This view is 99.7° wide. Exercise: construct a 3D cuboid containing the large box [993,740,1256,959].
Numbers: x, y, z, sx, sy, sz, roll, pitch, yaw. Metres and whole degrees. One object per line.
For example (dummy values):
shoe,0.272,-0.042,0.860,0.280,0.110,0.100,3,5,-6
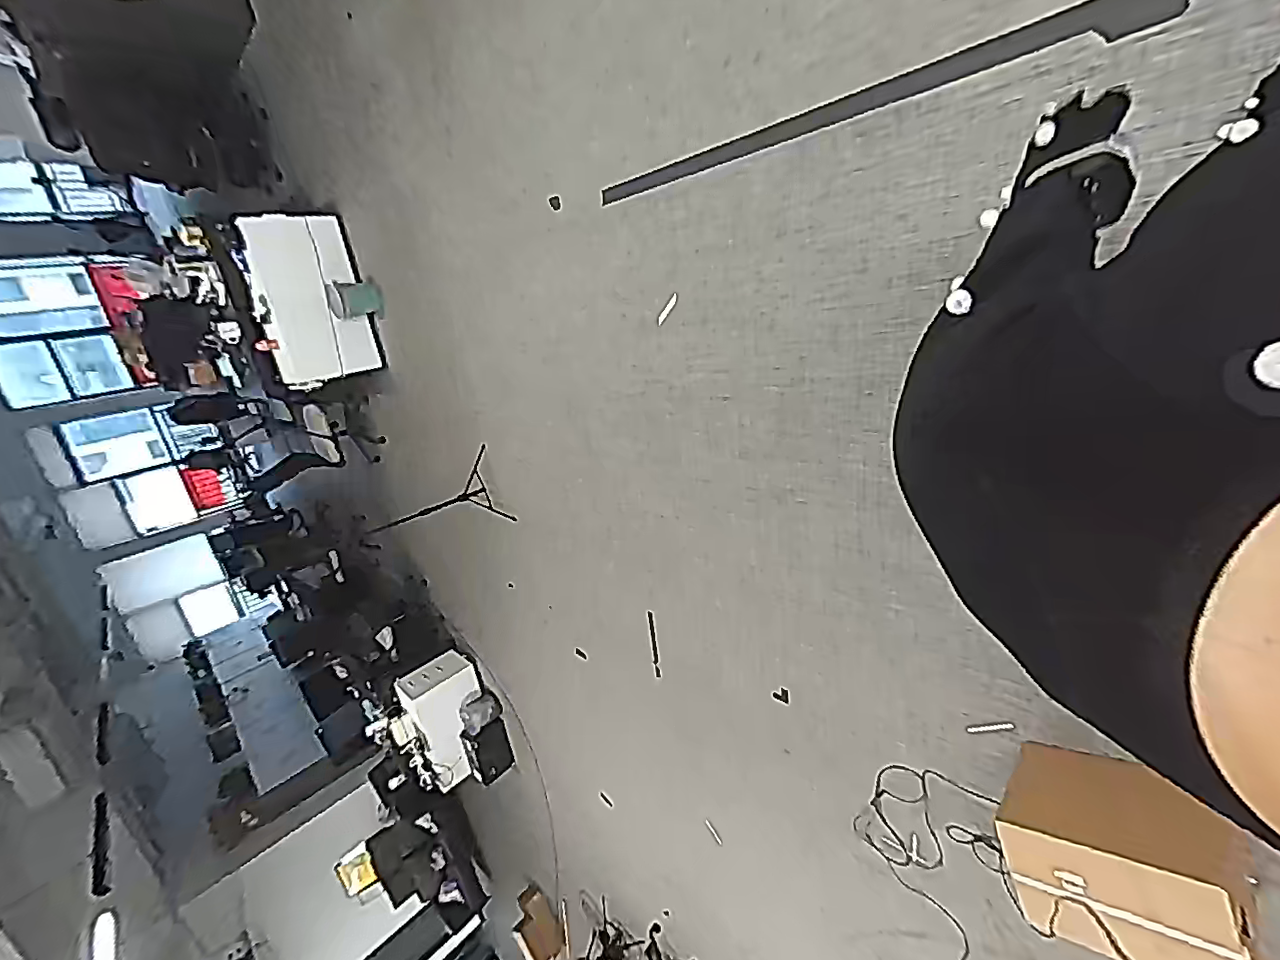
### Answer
large box,1.160,0.895,1.308,0.408,0.320,0.320,-11,101,51
